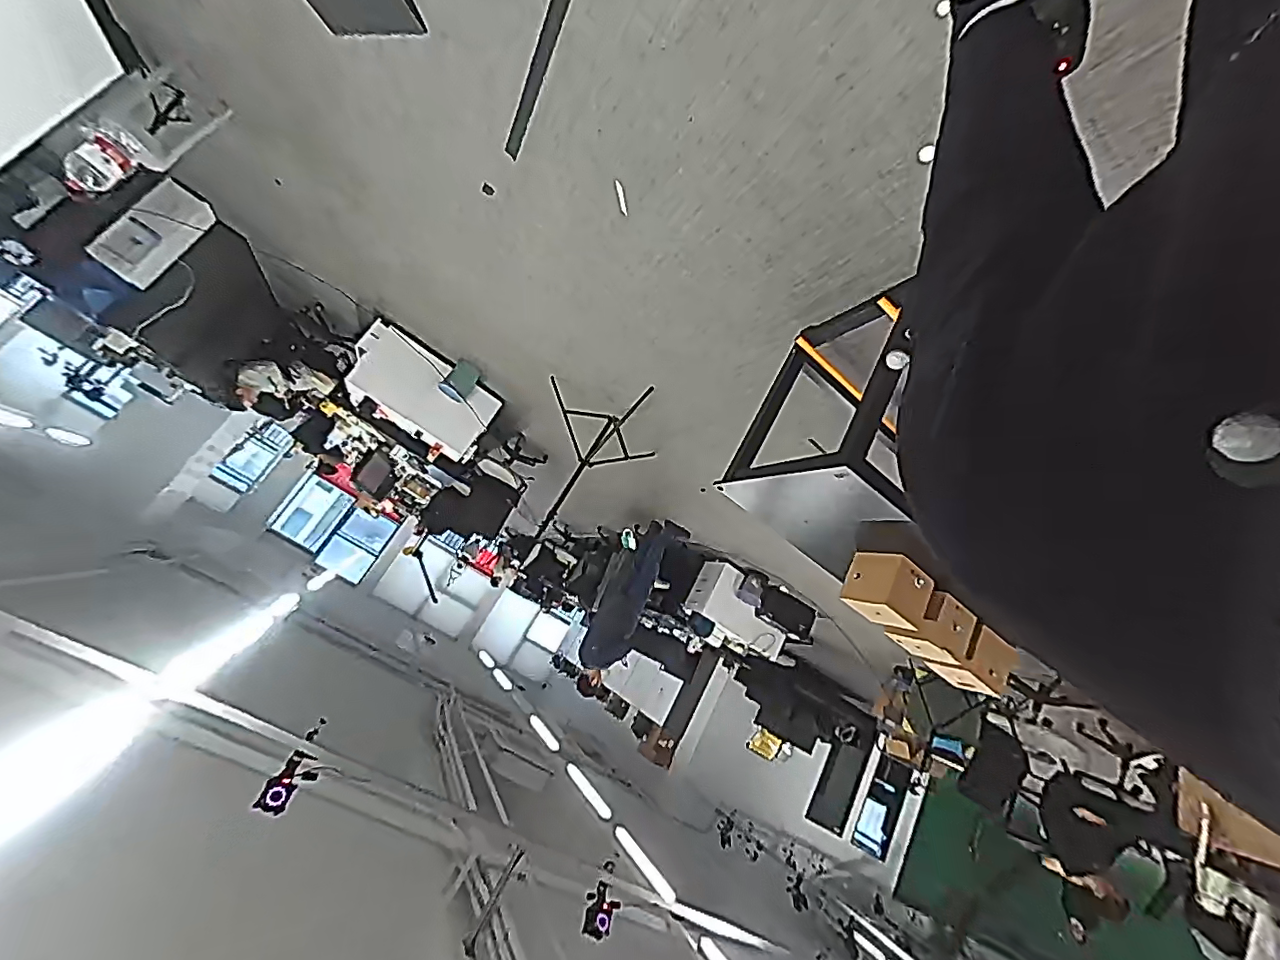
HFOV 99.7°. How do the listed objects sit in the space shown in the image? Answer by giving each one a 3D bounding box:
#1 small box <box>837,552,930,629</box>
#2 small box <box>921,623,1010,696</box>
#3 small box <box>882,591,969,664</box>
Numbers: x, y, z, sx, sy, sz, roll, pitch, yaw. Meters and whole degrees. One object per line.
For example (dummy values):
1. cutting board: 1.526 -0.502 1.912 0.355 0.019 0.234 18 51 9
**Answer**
1. small box: 0.749 0.332 1.658 0.168 0.176 0.179 35 161 -19
2. small box: 1.084 0.583 1.795 0.179 0.176 0.168 37 161 -15
3. small box: 0.919 0.461 1.731 0.168 0.176 0.179 36 161 -18
